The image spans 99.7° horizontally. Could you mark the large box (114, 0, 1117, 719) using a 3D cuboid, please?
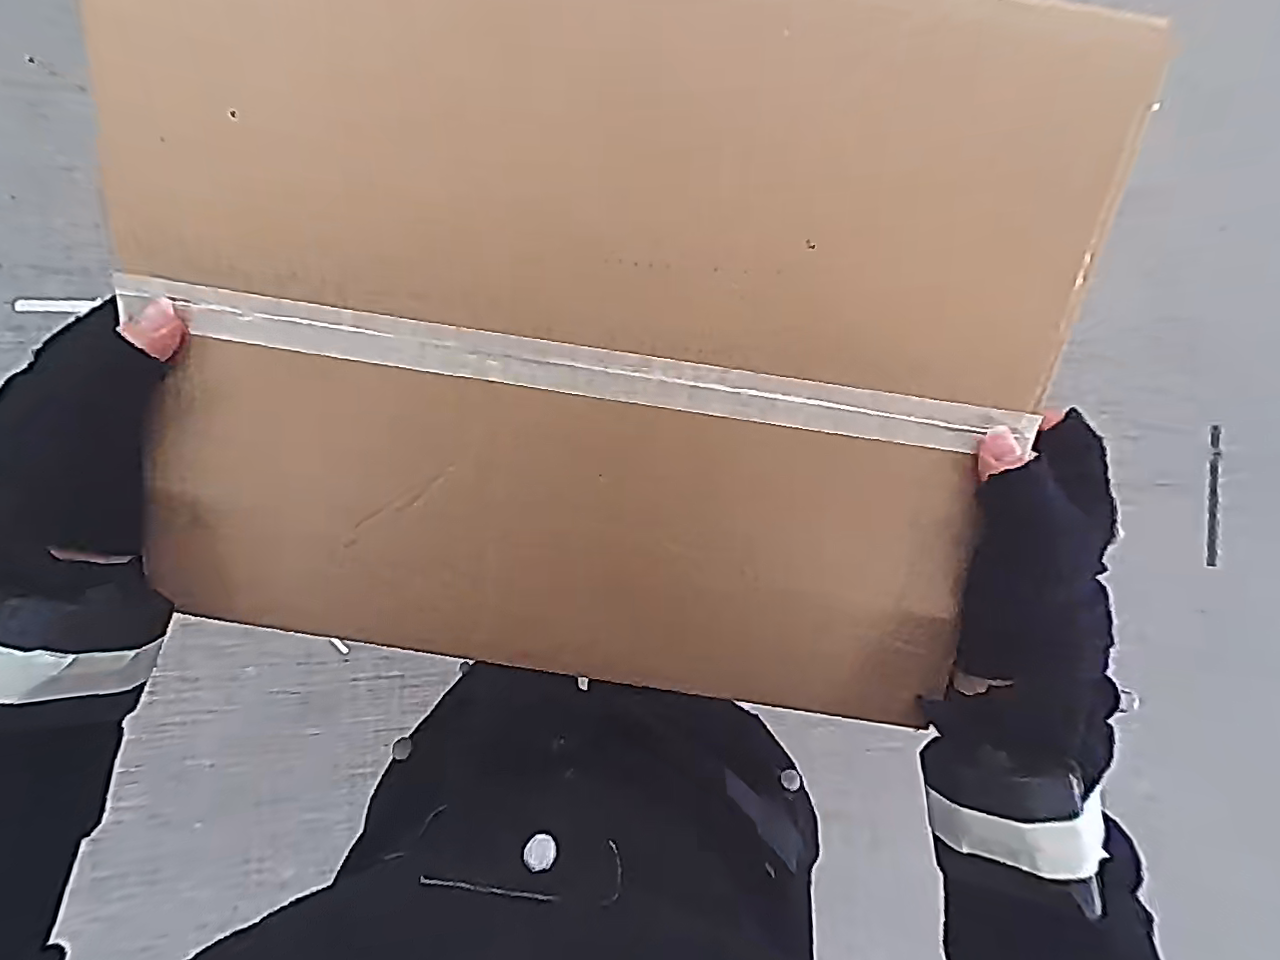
[{"bbox_3d":[-0.022,-0.080,0.394,0.408,0.320,0.320,9,106,-1],"label":"large box"}]
